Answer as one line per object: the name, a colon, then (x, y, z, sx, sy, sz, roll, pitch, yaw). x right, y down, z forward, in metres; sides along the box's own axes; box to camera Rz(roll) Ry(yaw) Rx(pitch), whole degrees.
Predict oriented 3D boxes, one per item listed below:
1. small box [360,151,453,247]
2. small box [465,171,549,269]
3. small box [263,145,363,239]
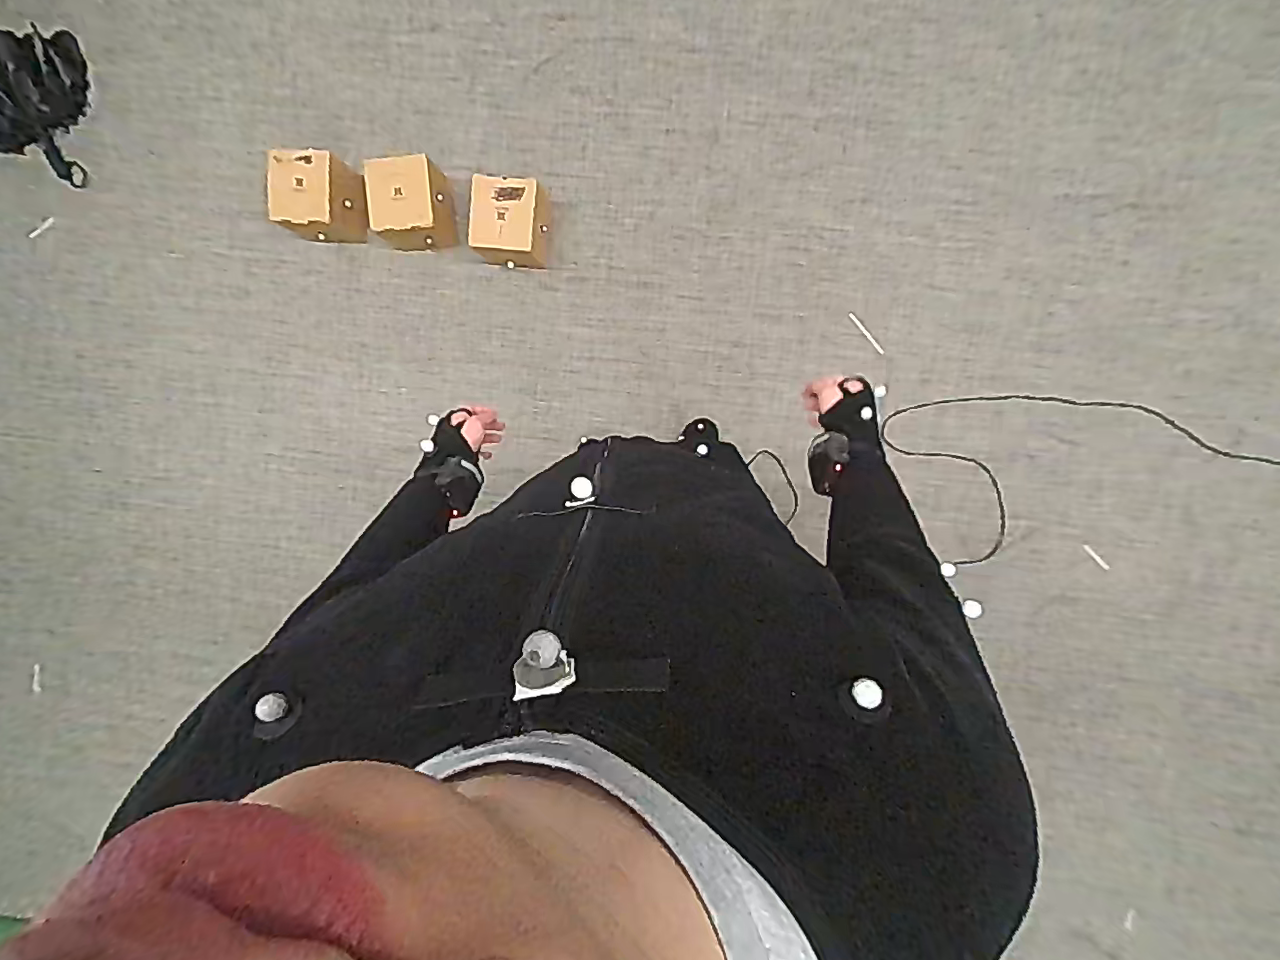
small box: (-0.607, -0.729, 1.427, 0.168, 0.176, 0.179, -4, 94, 3)
small box: (-0.341, -0.672, 1.412, 0.168, 0.176, 0.179, 7, 97, 3)
small box: (-0.862, -0.757, 1.439, 0.168, 0.176, 0.179, 4, 97, 3)
